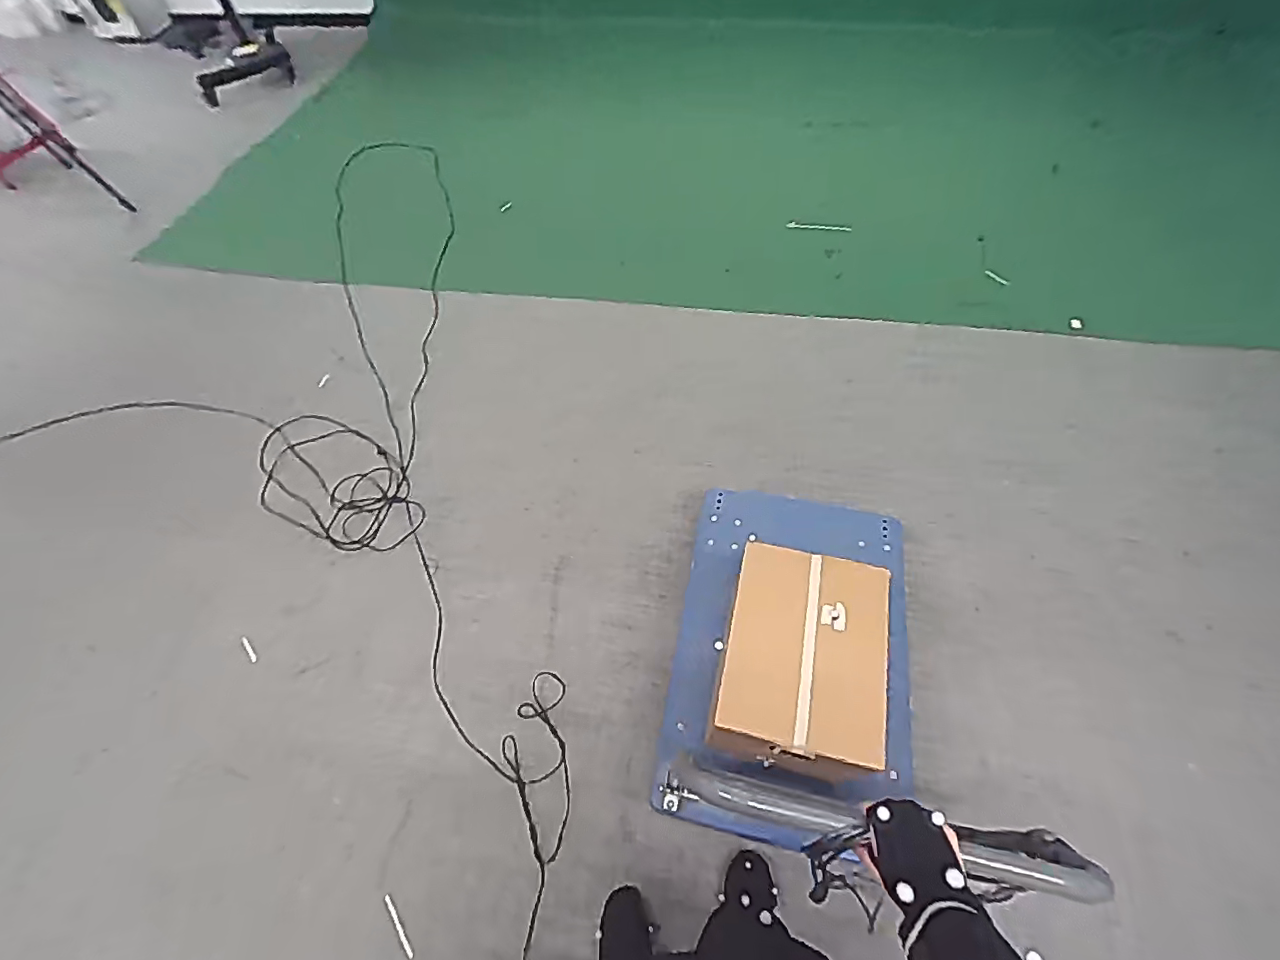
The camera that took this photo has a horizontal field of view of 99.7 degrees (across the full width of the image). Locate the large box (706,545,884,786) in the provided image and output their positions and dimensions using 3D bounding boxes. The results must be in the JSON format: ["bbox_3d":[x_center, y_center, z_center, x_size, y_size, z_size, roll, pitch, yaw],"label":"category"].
[{"bbox_3d":[0.337,0.416,1.212,0.320,0.320,0.408,12,58,9],"label":"large box"}]
